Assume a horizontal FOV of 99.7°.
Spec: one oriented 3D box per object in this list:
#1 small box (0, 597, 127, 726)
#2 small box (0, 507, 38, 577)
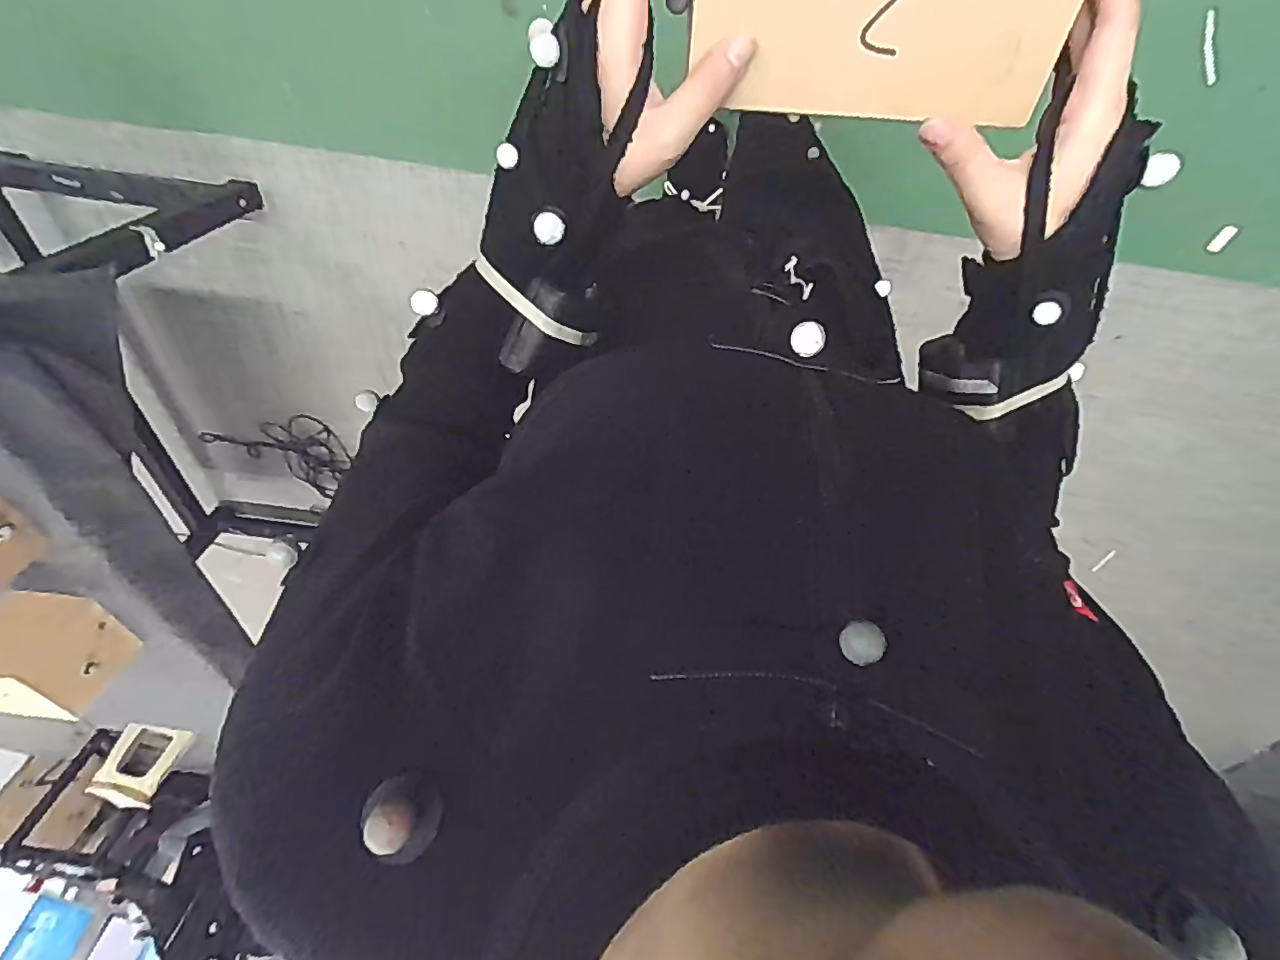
[{"bbox_3d":[-1.125,0.335,1.007,0.179,0.176,0.168,4,133,4],"label":"small box"},{"bbox_3d":[-1.077,0.100,0.787,0.179,0.176,0.168,2,134,4],"label":"small box"}]
